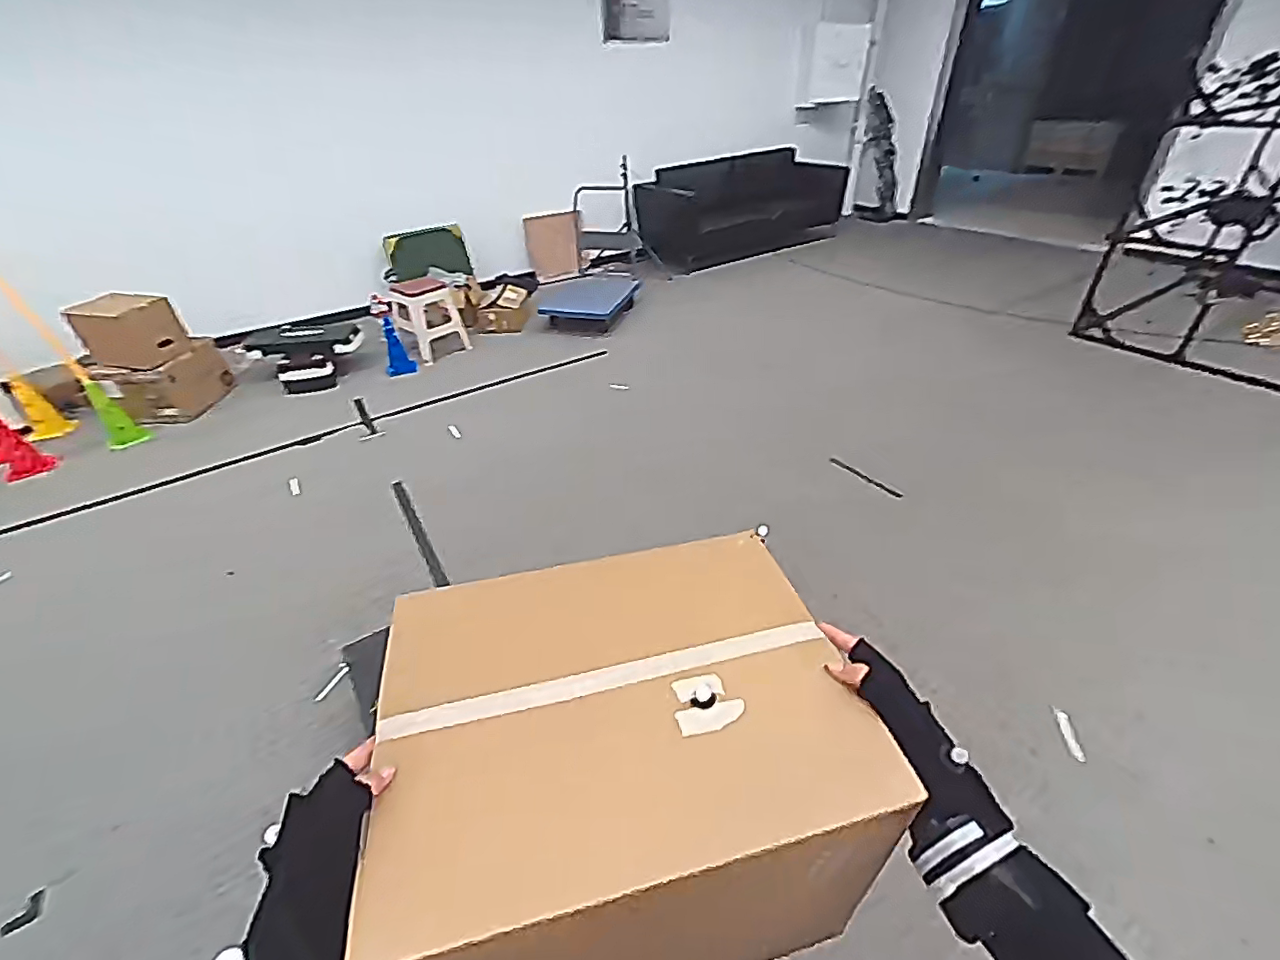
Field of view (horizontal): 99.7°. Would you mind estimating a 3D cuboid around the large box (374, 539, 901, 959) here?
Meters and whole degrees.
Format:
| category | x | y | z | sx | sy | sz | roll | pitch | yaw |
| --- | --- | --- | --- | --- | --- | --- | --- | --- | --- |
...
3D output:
| category | x | y | z | sx | sy | sz | roll | pitch | yaw |
| --- | --- | --- | --- | --- | --- | --- | --- | --- | --- |
| large box | -0.019 | 0.310 | 0.586 | 0.408 | 0.320 | 0.320 | -9 | 36 | -11 |
